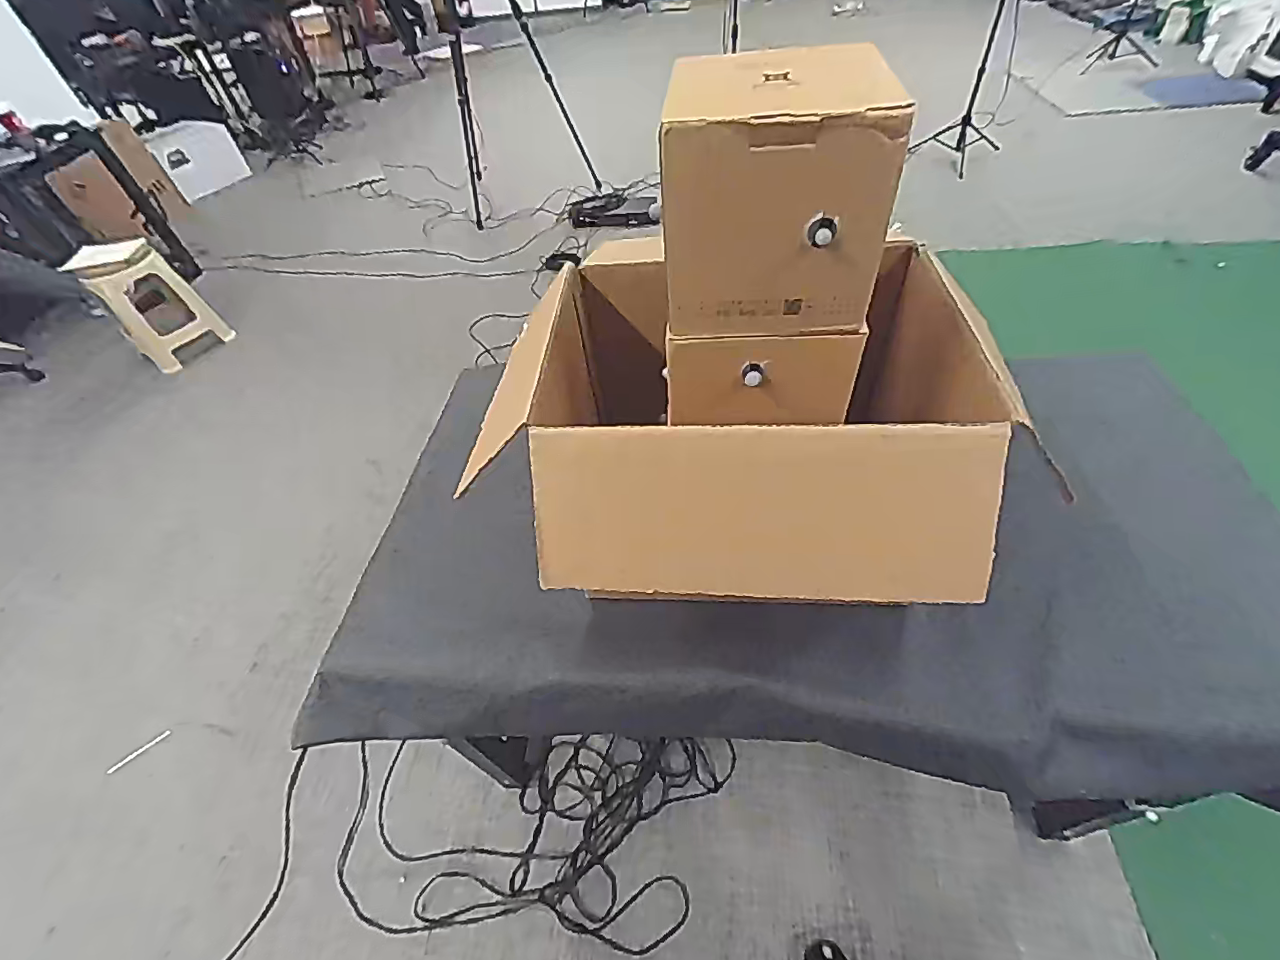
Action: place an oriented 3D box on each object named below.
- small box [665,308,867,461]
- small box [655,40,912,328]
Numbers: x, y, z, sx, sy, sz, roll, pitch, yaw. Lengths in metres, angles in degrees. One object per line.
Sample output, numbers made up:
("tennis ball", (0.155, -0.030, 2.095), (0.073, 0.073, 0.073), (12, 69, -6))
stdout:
("small box", (0.120, -0.132, 0.578), (0.179, 0.176, 0.168), (0, 49, 7))
("small box", (0.107, -0.244, 0.461), (0.168, 0.176, 0.179), (2, 48, 7))
